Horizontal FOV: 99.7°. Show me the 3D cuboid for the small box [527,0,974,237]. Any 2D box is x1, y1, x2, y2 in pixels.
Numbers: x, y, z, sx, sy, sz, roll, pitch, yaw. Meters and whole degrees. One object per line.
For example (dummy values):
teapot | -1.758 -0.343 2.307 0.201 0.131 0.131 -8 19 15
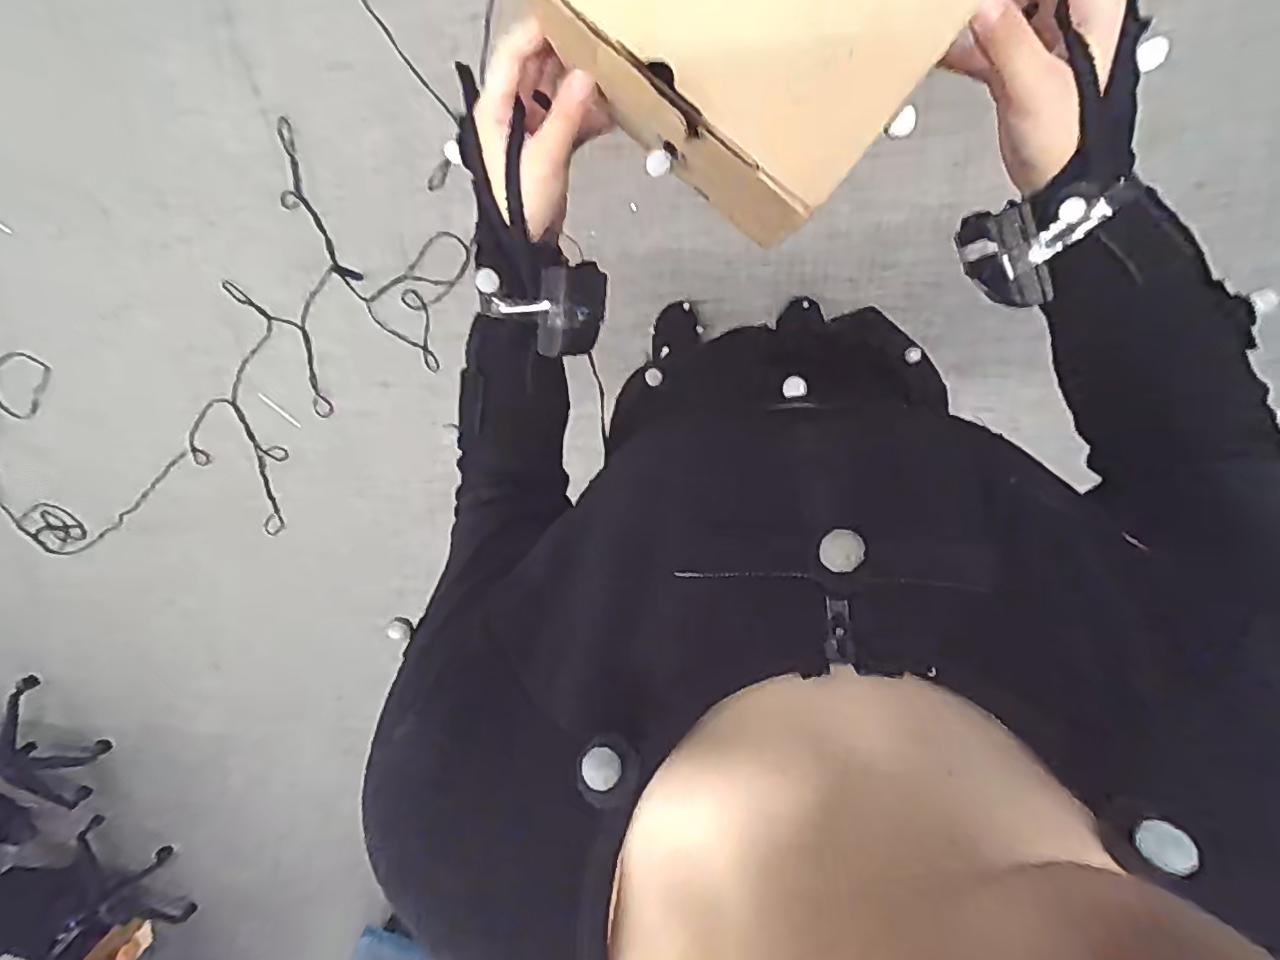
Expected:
small box | 0.069 -0.250 0.274 0.168 0.176 0.179 38 109 -6
